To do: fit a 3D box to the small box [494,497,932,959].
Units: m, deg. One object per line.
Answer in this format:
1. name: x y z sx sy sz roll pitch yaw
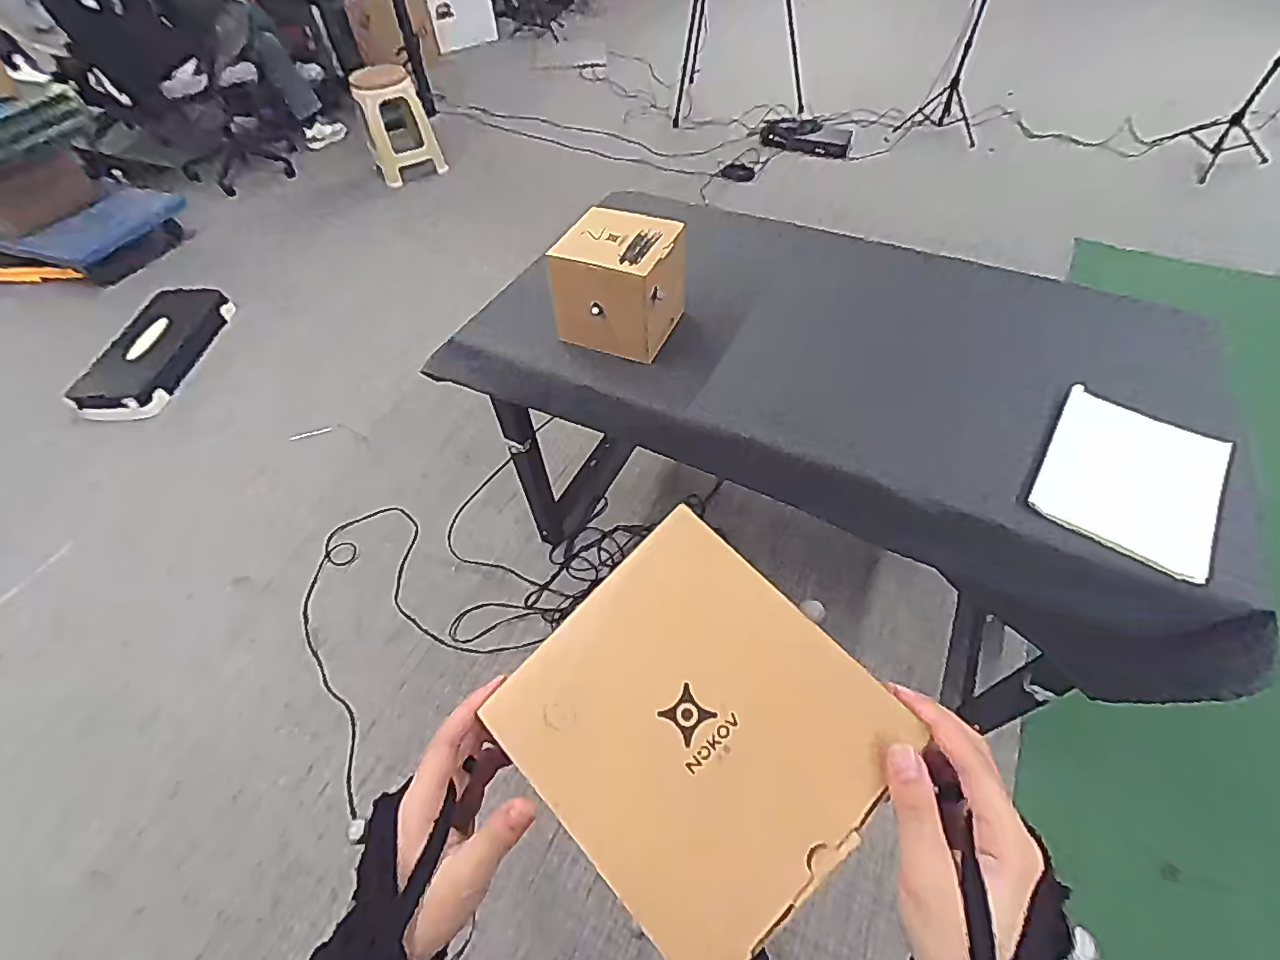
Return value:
1. small box: 0.041 0.145 0.362 0.168 0.176 0.179 -45 72 -8
